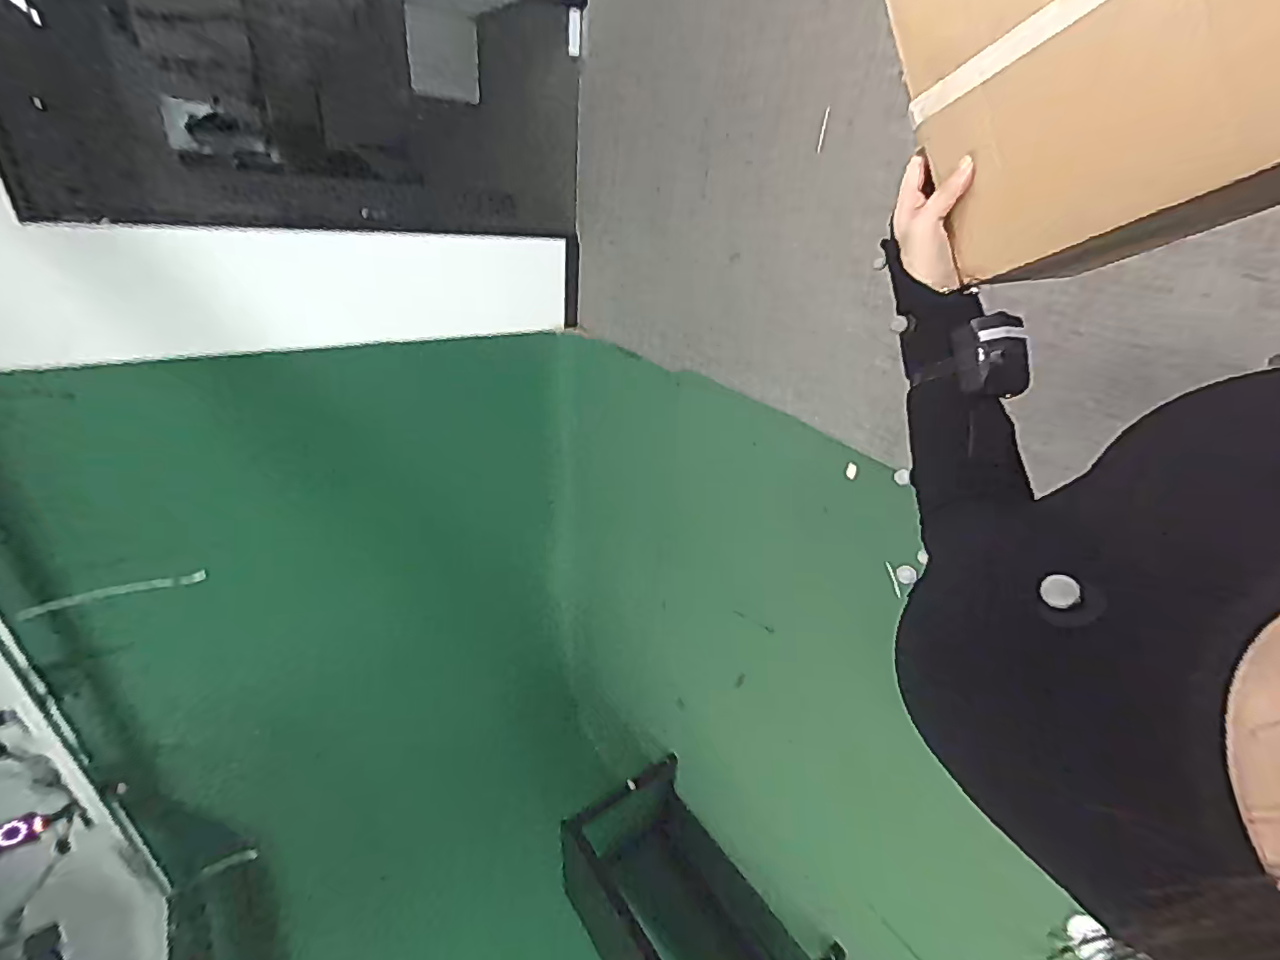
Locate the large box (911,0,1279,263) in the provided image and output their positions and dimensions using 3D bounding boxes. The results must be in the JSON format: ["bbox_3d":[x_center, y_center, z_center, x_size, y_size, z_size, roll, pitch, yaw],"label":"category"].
[{"bbox_3d":[0.478,-0.395,0.393,0.408,0.320,0.320,-13,95,52],"label":"large box"}]
